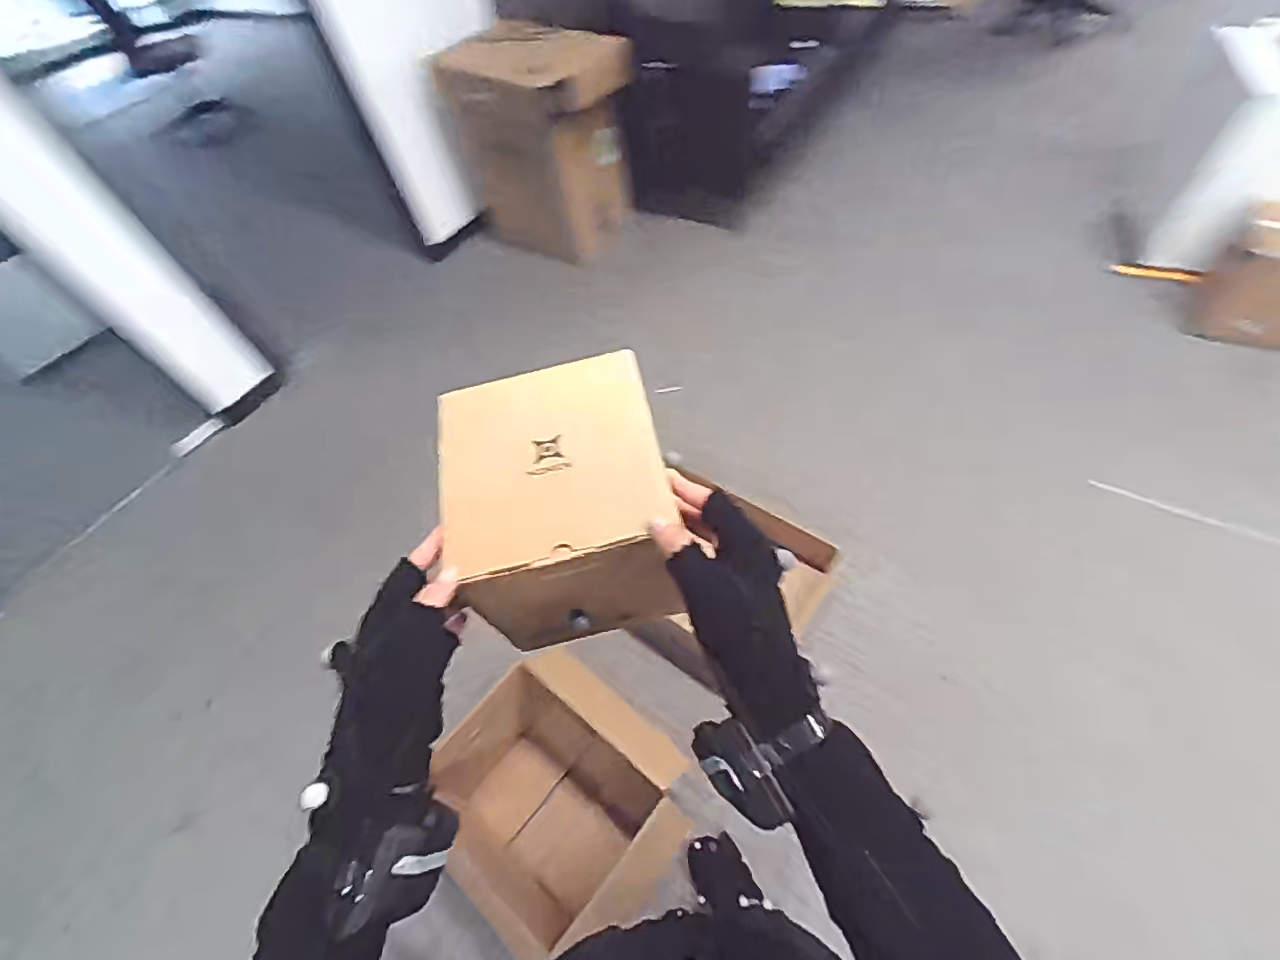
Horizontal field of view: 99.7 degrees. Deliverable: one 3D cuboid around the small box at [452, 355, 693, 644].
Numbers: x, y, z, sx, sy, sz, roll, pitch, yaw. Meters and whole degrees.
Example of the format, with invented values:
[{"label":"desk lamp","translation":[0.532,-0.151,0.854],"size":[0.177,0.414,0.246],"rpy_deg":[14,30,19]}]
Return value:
[{"label":"small box","translation":[-0.053,0.024,0.477],"size":[0.168,0.176,0.179],"rpy_deg":[-13,58,0]}]
